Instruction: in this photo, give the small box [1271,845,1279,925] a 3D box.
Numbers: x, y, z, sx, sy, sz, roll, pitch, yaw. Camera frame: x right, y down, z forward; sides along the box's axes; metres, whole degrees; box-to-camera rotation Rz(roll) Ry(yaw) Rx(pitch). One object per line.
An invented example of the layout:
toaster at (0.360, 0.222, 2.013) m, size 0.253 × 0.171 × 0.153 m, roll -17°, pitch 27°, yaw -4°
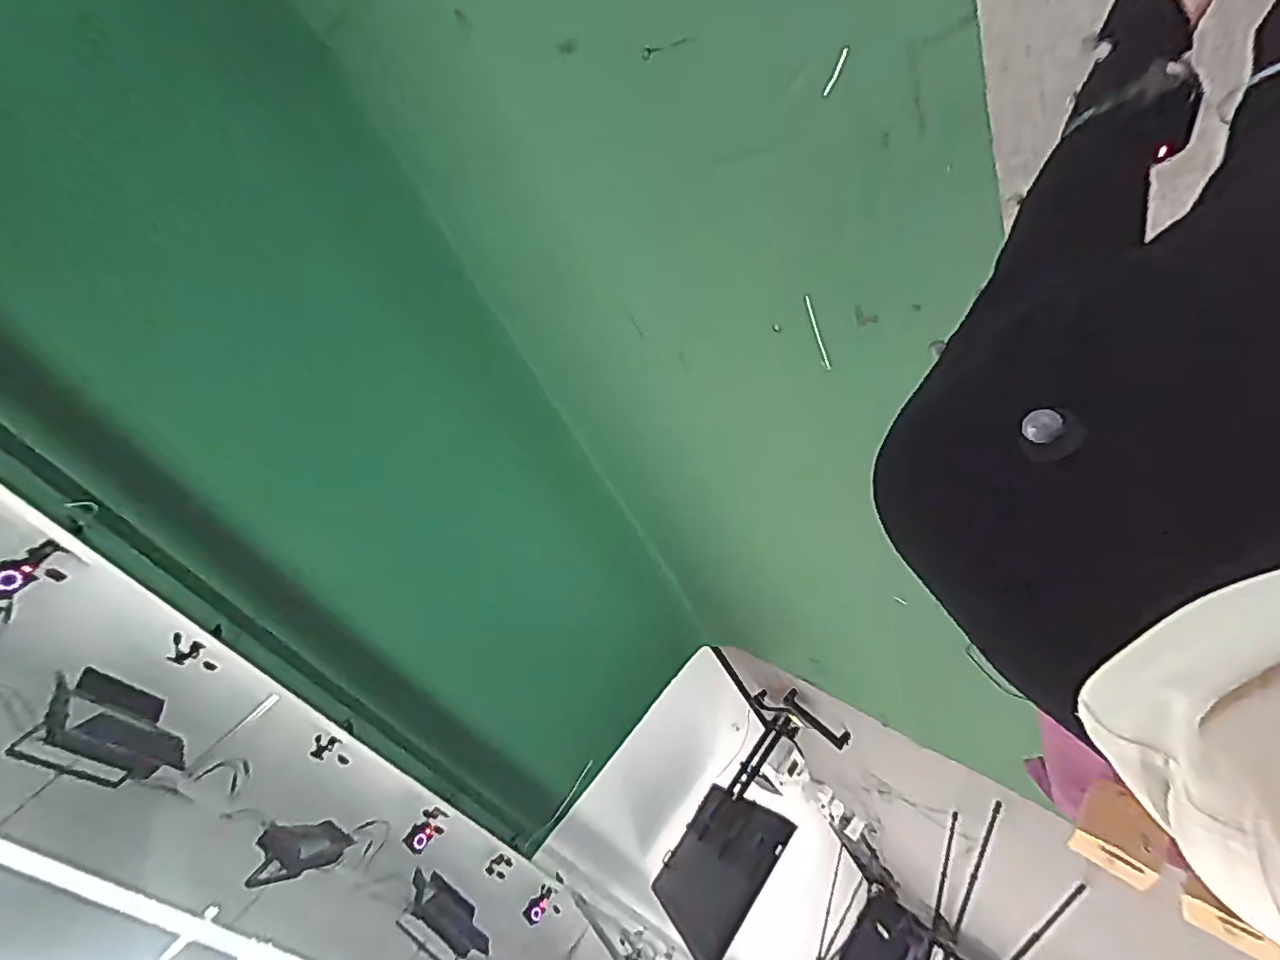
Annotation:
small box at (1.409, 0.836, 1.080) m, size 0.179 × 0.176 × 0.168 m, roll 53°, pitch 155°, yaw -22°
